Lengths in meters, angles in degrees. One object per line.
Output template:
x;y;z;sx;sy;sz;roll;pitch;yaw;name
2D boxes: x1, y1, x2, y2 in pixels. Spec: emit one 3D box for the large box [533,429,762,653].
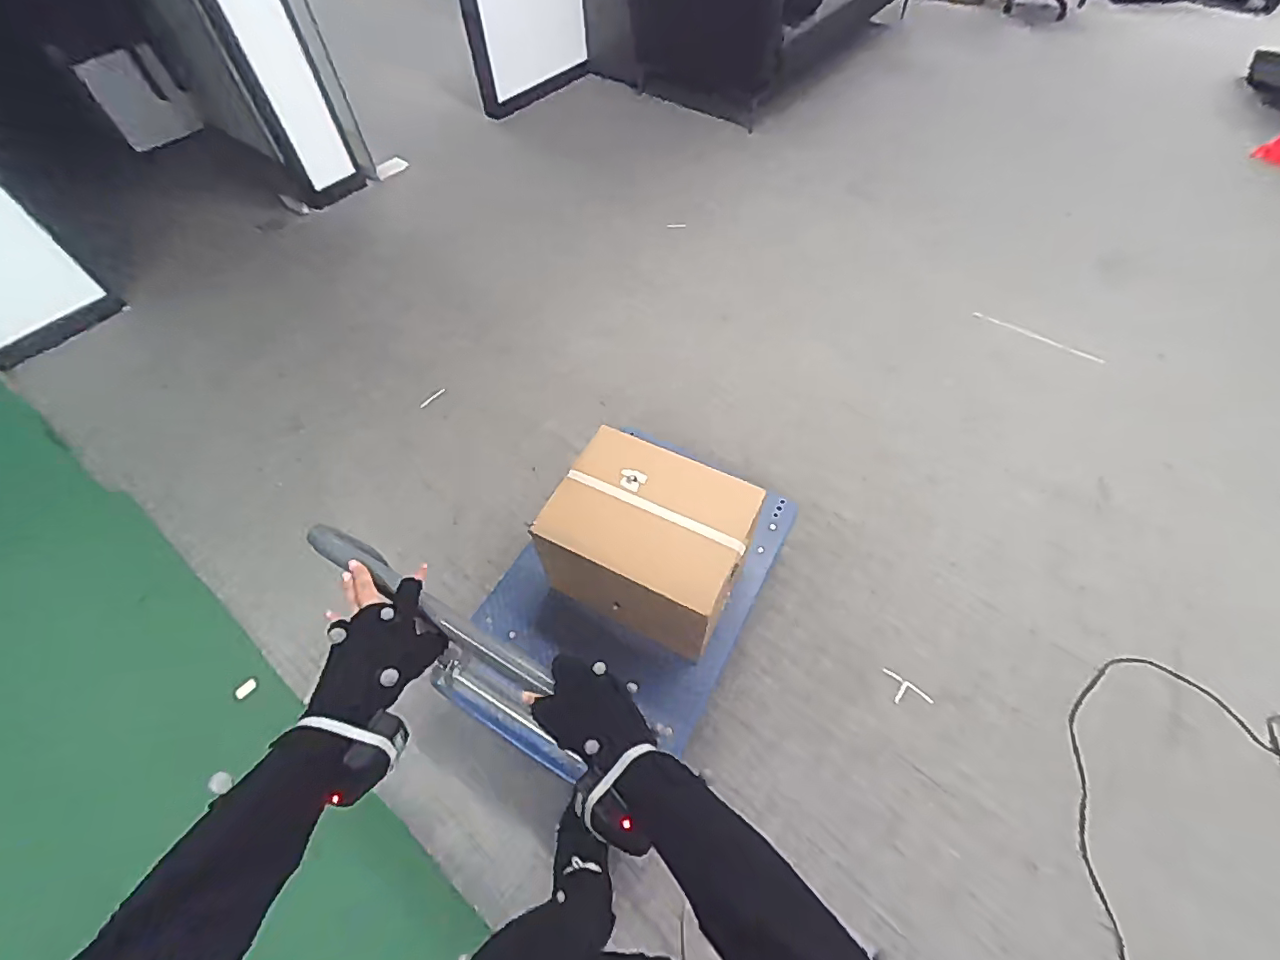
0.027;0.145;1.260;0.408;0.320;0.320;22;59;16;large box
